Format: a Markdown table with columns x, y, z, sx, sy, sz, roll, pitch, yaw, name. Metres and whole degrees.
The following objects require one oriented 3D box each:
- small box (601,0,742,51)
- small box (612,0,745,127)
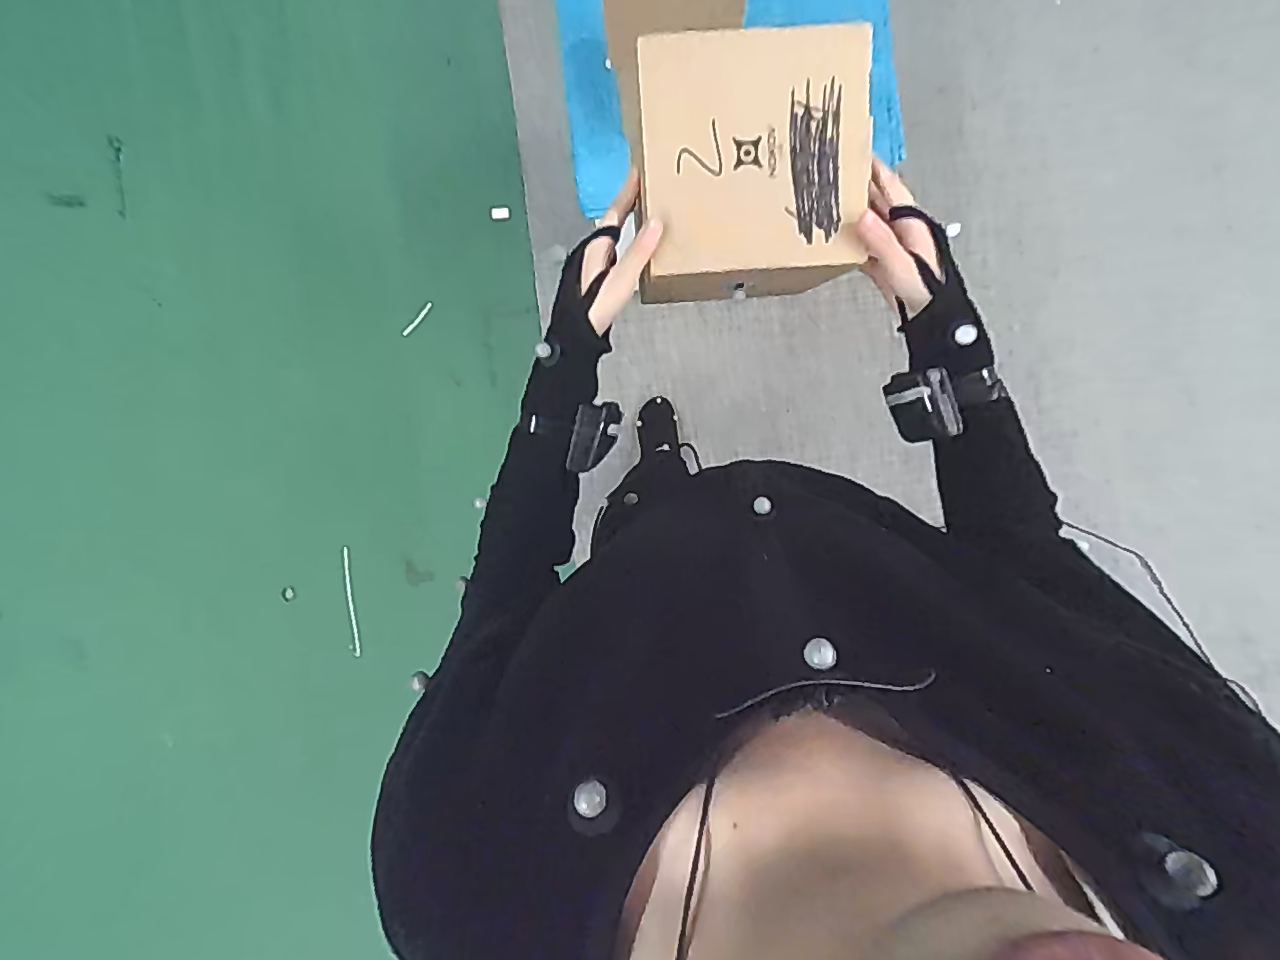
| x | y | z | sx | sy | sz | roll | pitch | yaw | name |
| --- | --- | --- | --- | --- | --- | --- | --- | --- | --- |
| 0.034 | -0.647 | 0.627 | 0.179 | 0.176 | 0.168 | -6 | 91 | 1 | small box |
| 0.046 | -0.655 | 0.791 | 0.179 | 0.176 | 0.168 | -6 | 92 | 2 | small box |
